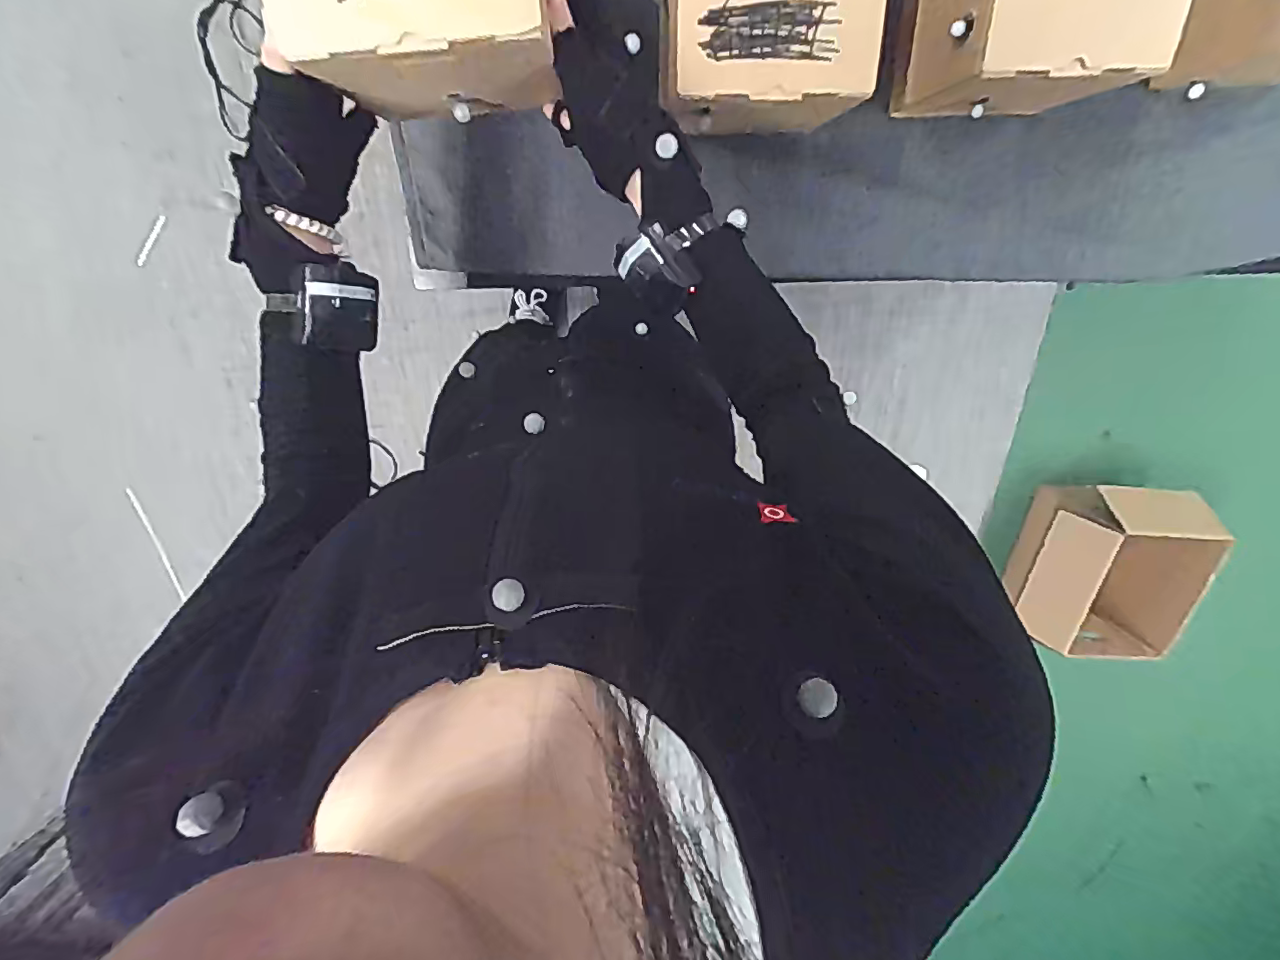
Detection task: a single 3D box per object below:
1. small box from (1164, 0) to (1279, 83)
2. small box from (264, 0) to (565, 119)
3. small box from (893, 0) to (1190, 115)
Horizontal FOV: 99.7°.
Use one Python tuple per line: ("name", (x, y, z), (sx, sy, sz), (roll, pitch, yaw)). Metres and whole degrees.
("small box", (0.635, -0.479, 0.487), (0.168, 0.176, 0.179), (-3, 114, -2))
("small box", (-0.150, -0.379, 0.374), (0.168, 0.176, 0.179), (-5, 112, 1))
("small box", (0.354, -0.451, 0.488), (0.168, 0.176, 0.179), (-3, 115, -2))
